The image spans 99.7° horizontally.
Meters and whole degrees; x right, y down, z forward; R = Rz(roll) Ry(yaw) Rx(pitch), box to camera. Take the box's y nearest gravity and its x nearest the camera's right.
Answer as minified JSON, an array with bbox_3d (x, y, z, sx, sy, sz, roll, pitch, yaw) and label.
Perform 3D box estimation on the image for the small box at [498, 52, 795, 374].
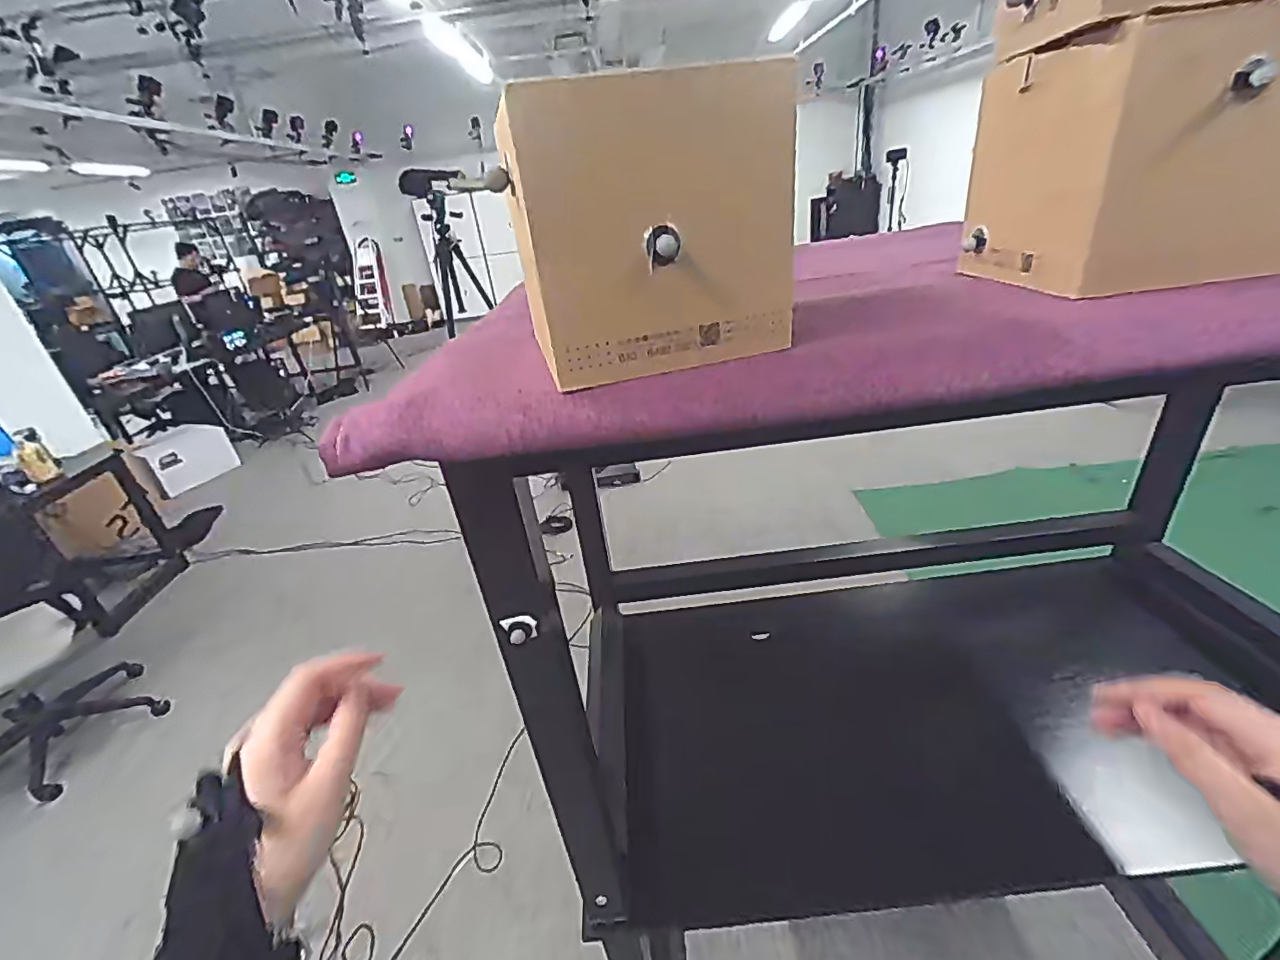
[{"bbox_3d":[-0.002,-0.183,0.395,0.168,0.176,0.179,-12,29,-10],"label":"small box"}]

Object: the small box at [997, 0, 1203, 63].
[{"bbox_3d":[0.366,-0.389,0.344,0.179,0.176,0.168,-2,28,11],"label":"small box"}]

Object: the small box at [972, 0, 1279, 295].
[{"bbox_3d":[0.390,-0.248,0.421,0.179,0.176,0.168,-6,29,2],"label":"small box"}]
